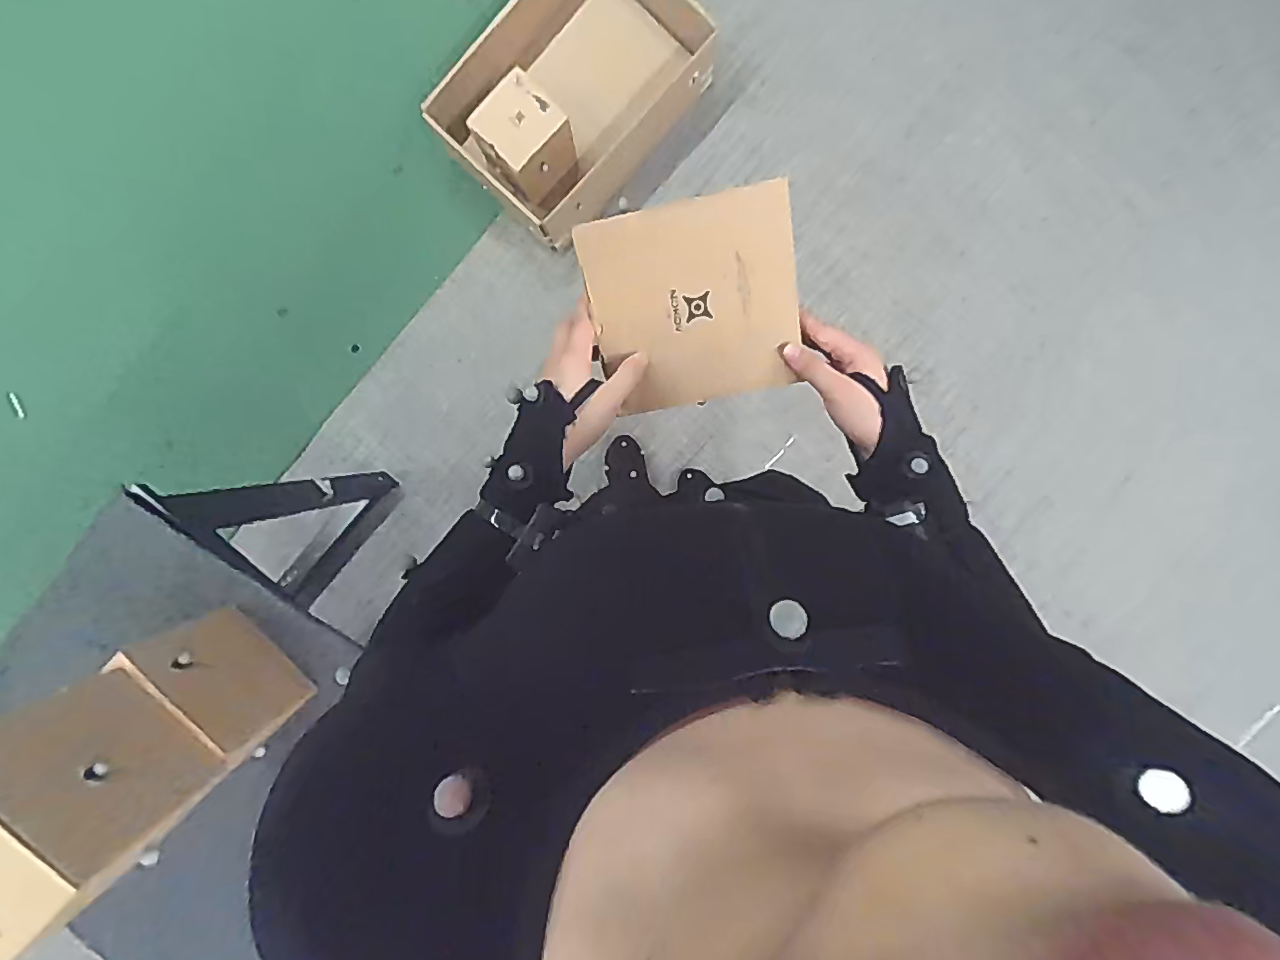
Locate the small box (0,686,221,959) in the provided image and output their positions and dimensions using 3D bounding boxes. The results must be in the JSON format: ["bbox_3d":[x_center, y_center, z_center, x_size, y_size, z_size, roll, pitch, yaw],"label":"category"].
[{"bbox_3d":[-0.579,0.331,0.525,0.179,0.176,0.168,45,95,-4],"label":"small box"}]

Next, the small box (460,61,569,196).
[{"bbox_3d":[-0.289,-0.826,1.294,0.168,0.176,0.179,44,93,-4],"label":"small box"}]

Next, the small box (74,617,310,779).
[{"bbox_3d":[-0.578,0.298,0.686,0.168,0.176,0.179,-43,94,5],"label":"small box"}]
